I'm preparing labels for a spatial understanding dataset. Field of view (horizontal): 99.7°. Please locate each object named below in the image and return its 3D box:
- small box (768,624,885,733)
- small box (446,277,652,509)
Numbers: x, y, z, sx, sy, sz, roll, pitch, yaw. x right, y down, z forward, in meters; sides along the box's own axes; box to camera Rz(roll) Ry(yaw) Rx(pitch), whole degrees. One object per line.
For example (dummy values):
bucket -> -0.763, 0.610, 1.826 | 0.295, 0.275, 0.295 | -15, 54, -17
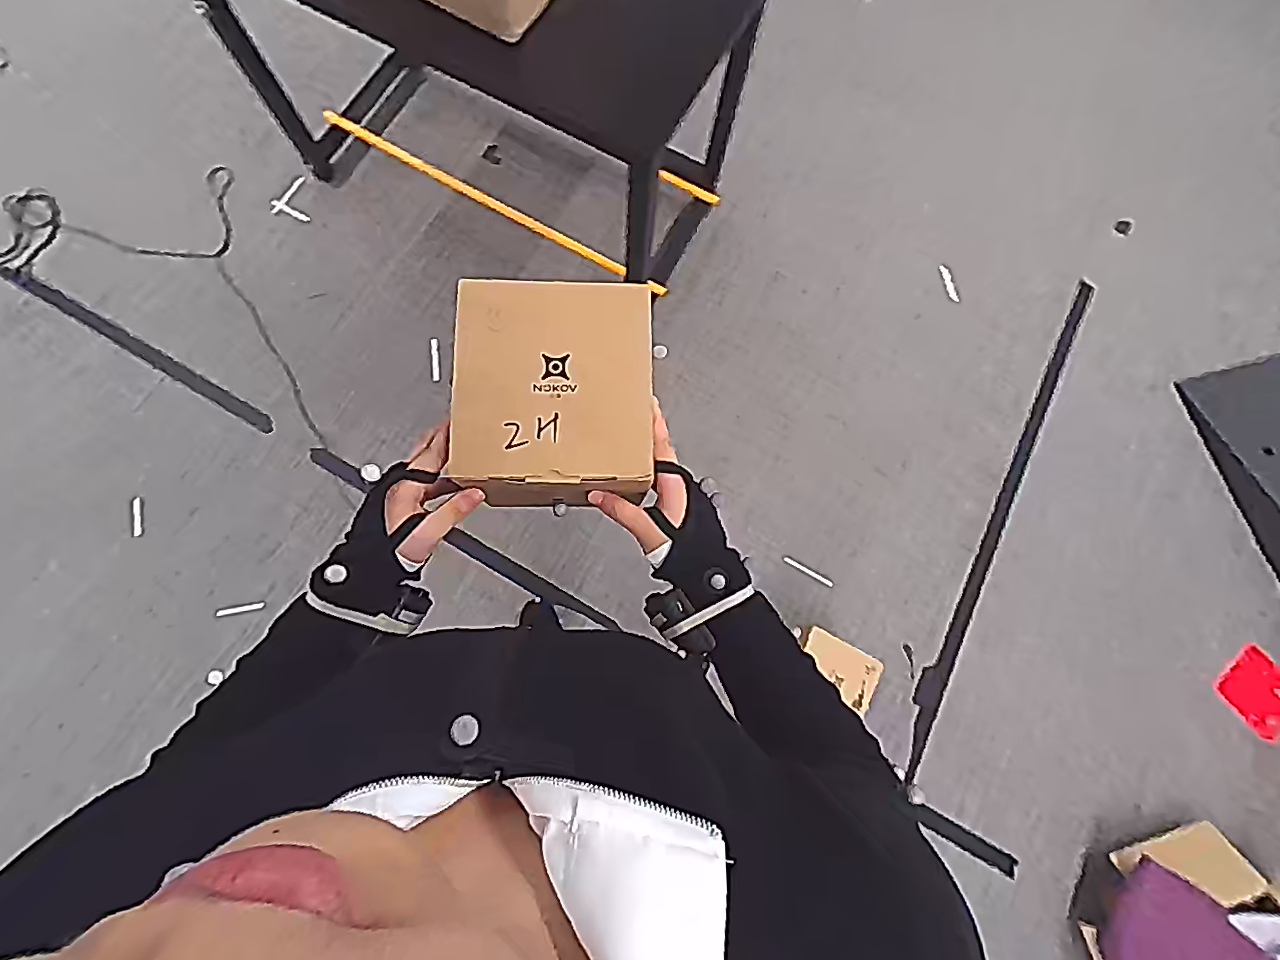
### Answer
small box -> 0.418, 0.449, 1.246 | 0.179, 0.176, 0.168 | 29, 76, 4
small box -> -0.079, -0.071, 0.525 | 0.168, 0.176, 0.179 | 0, 79, -4
